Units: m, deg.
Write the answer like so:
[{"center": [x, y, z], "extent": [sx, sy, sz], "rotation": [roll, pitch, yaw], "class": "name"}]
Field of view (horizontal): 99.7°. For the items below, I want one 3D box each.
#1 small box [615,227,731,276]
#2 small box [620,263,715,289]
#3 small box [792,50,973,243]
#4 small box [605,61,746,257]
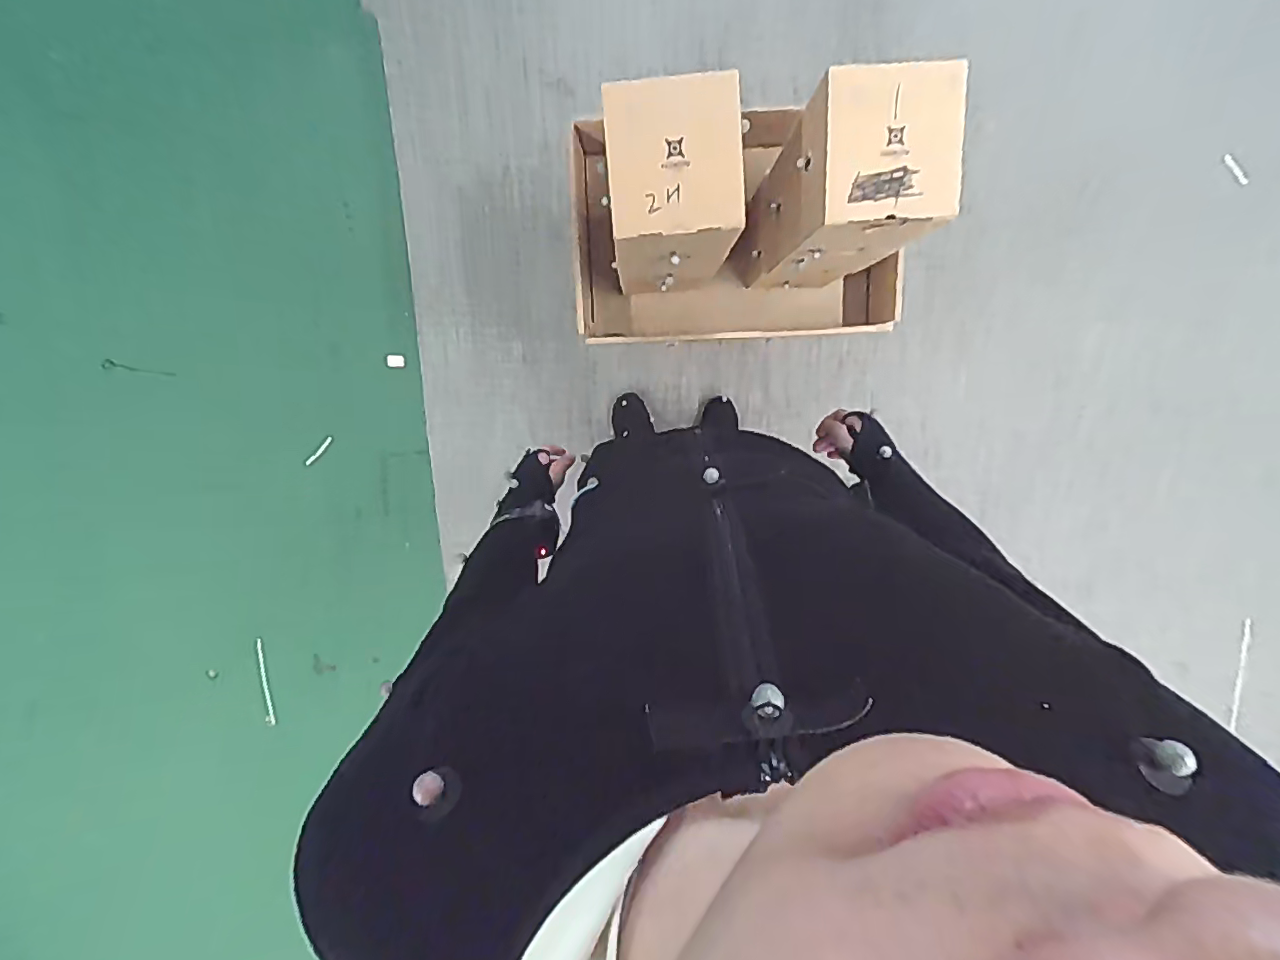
[{"center": [0.046, -0.440, 0.888], "extent": [0.179, 0.176, 0.168], "rotation": [-4, 101, 1], "class": "small box"}, {"center": [0.048, -0.471, 1.049], "extent": [0.179, 0.176, 0.168], "rotation": [-3, 101, 0], "class": "small box"}, {"center": [0.306, -0.423, 0.718], "extent": [0.168, 0.176, 0.179], "rotation": [-2, 100, 1], "class": "small box"}, {"center": [0.044, -0.414, 0.725], "extent": [0.168, 0.176, 0.179], "rotation": [-4, 101, 2], "class": "small box"}]
